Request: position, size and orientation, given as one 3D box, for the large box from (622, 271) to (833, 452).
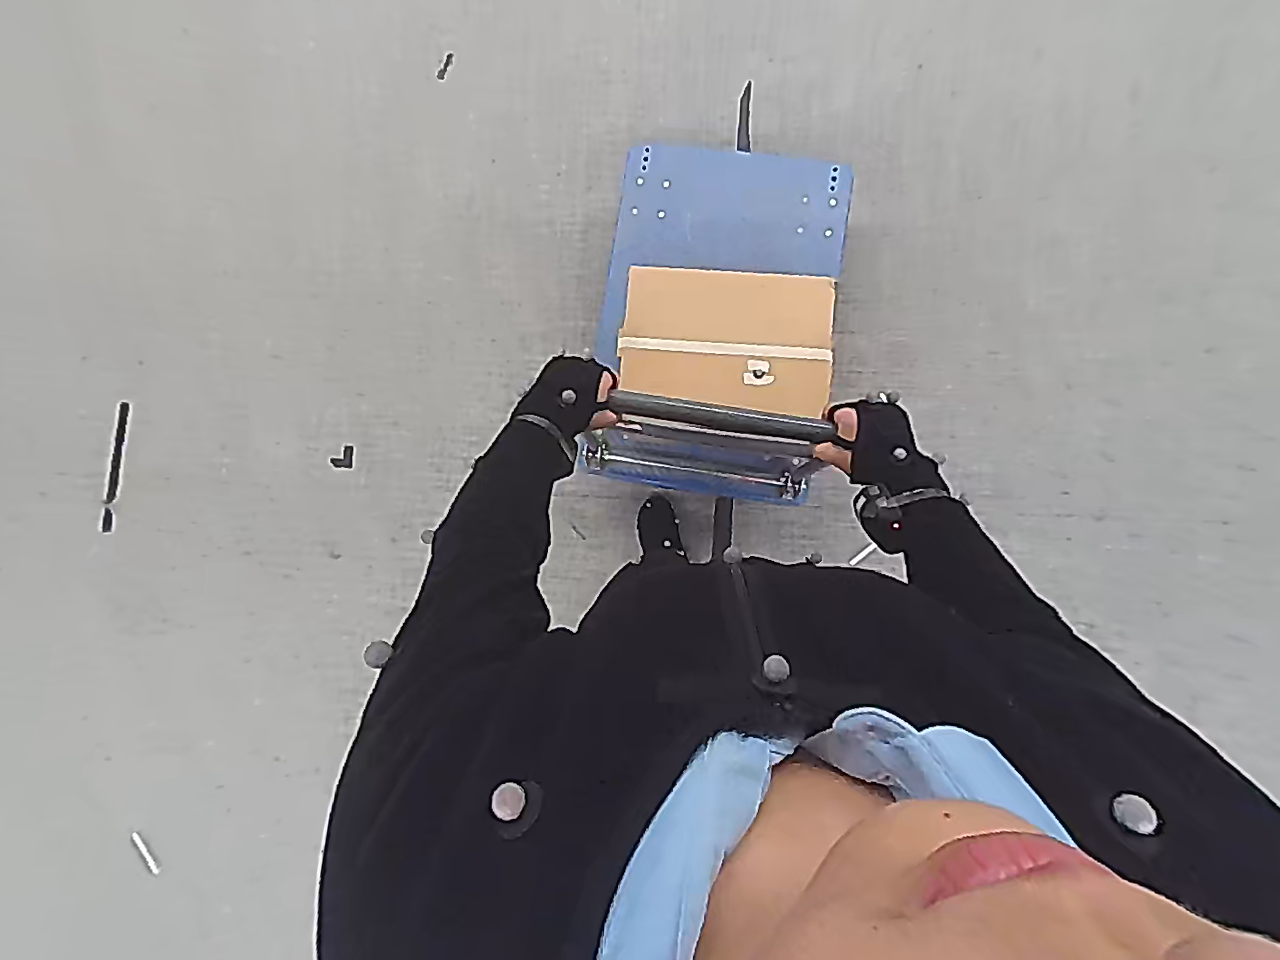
[{"bbox_3d":[0.177,-0.243,1.207,0.408,0.320,0.320,5,87,3],"label":"large box"}]
